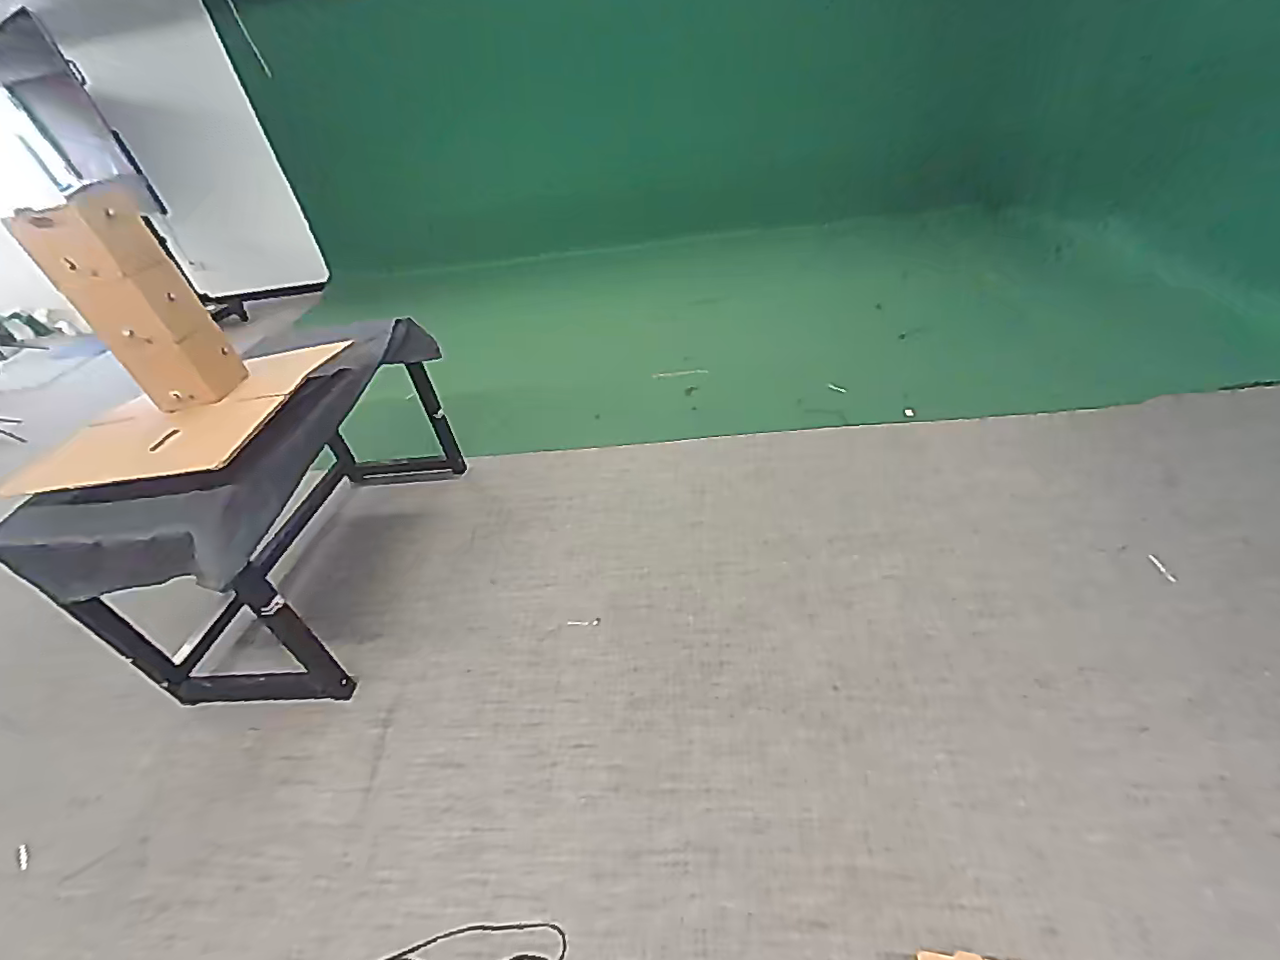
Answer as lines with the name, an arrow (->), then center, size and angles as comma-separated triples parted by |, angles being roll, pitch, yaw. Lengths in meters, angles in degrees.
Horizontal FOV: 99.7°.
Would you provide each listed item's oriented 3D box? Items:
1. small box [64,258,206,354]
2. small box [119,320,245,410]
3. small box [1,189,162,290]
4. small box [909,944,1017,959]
small box -> -1.261, -0.441, 1.373 | 0.168, 0.176, 0.179 | -13, 37, 1
small box -> -1.227, -0.312, 1.470 | 0.168, 0.176, 0.179 | -13, 37, 2
small box -> -1.297, -0.569, 1.279 | 0.168, 0.176, 0.179 | -13, 37, 1
small box -> 0.547, 0.910, 0.893 | 0.168, 0.176, 0.179 | -2, 38, 10
